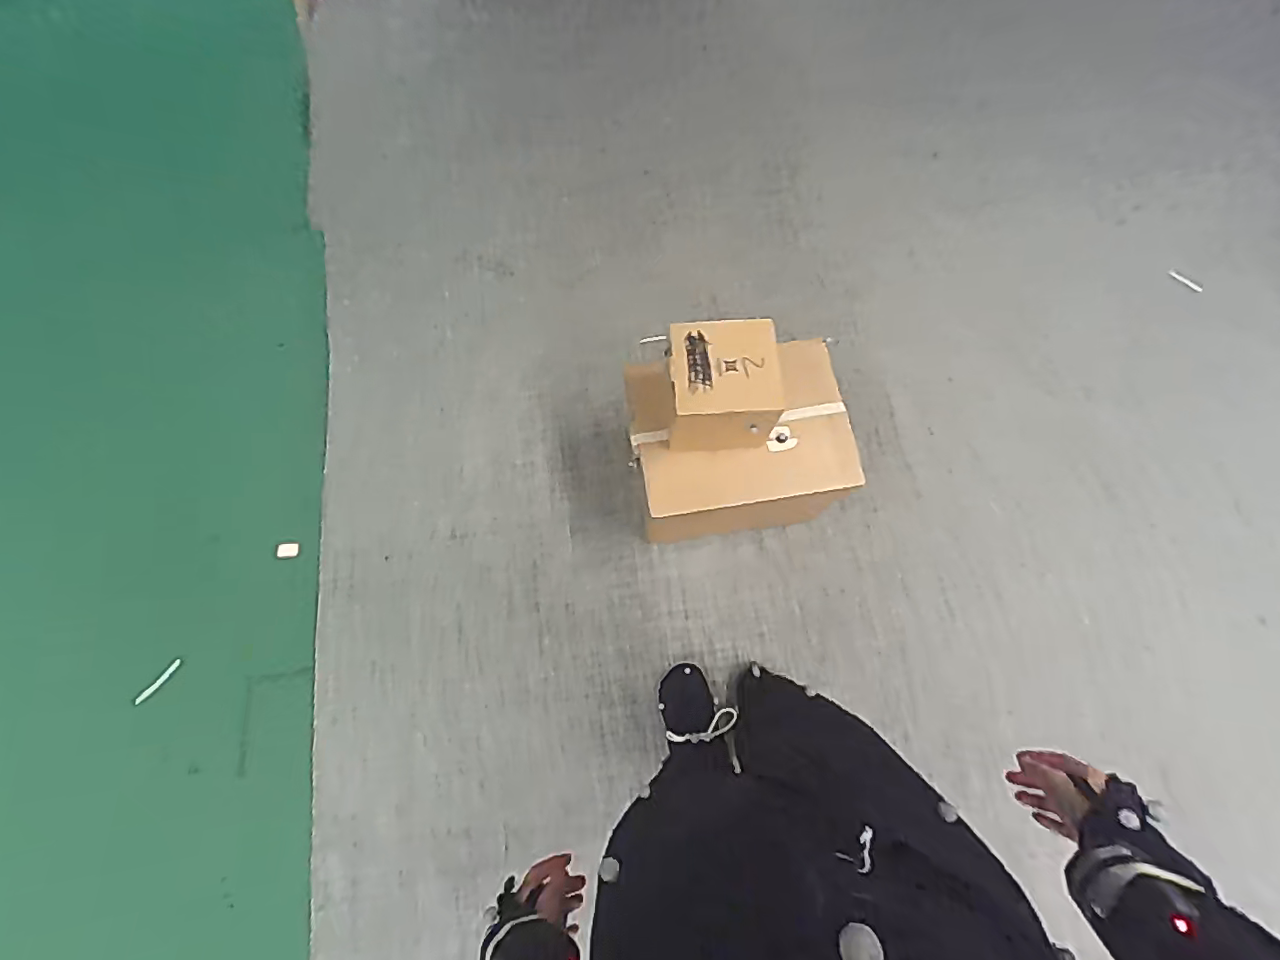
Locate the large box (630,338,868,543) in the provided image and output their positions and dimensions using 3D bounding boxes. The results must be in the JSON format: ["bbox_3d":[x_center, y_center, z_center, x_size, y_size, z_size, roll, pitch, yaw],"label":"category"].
[{"bbox_3d":[0.200,-0.066,1.168,0.408,0.320,0.320,-9,75,-3],"label":"large box"}]
